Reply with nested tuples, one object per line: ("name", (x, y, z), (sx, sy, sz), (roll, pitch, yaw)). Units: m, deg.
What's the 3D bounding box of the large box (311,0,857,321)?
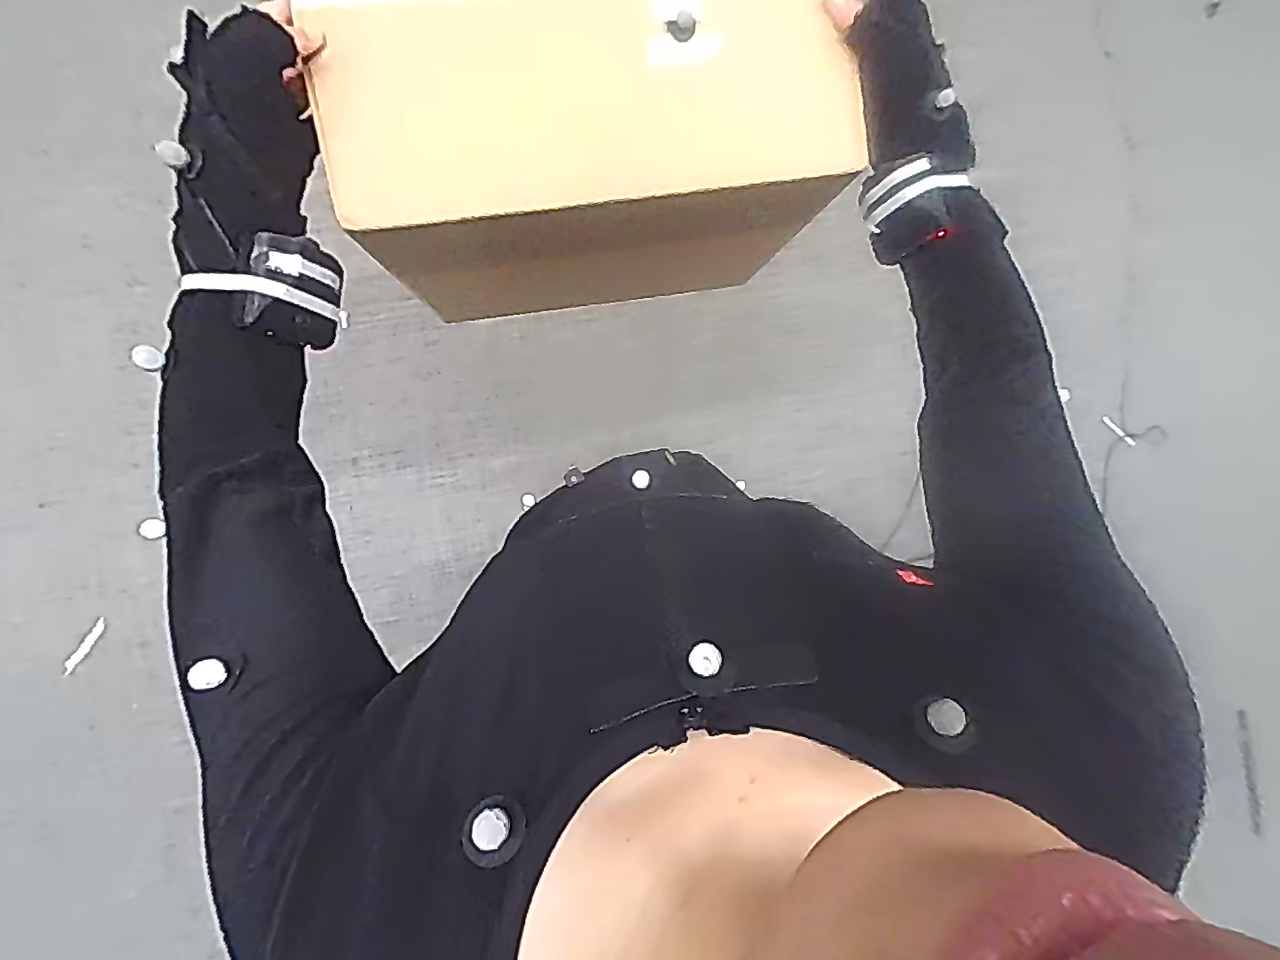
("large box", (-0.061, -0.379, 0.554), (0.408, 0.320, 0.320), (-11, 95, -7))
